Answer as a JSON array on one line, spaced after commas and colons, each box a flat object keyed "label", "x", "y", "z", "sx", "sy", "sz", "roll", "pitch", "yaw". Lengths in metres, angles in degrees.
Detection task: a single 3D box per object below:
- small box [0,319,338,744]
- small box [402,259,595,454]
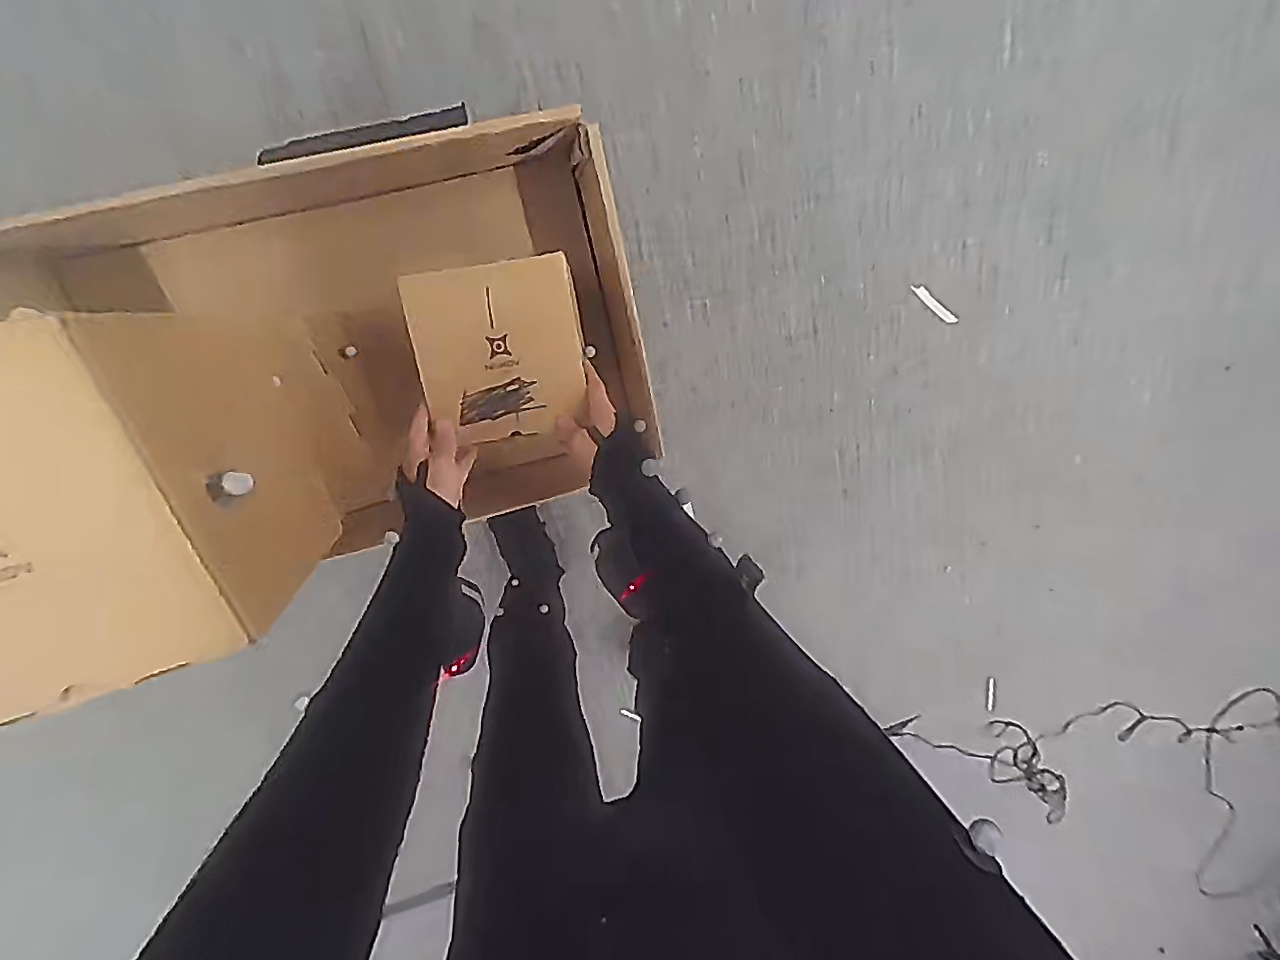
[{"label": "small box", "x": -0.310, "y": 0.013, "z": 0.314, "sx": 0.168, "sy": 0.176, "sz": 0.179, "roll": -18, "pitch": 111, "yaw": -9}, {"label": "small box", "x": -0.145, "y": -0.143, "z": 0.623, "sx": 0.168, "sy": 0.176, "sz": 0.179, "roll": -10, "pitch": 105, "yaw": -3}]
